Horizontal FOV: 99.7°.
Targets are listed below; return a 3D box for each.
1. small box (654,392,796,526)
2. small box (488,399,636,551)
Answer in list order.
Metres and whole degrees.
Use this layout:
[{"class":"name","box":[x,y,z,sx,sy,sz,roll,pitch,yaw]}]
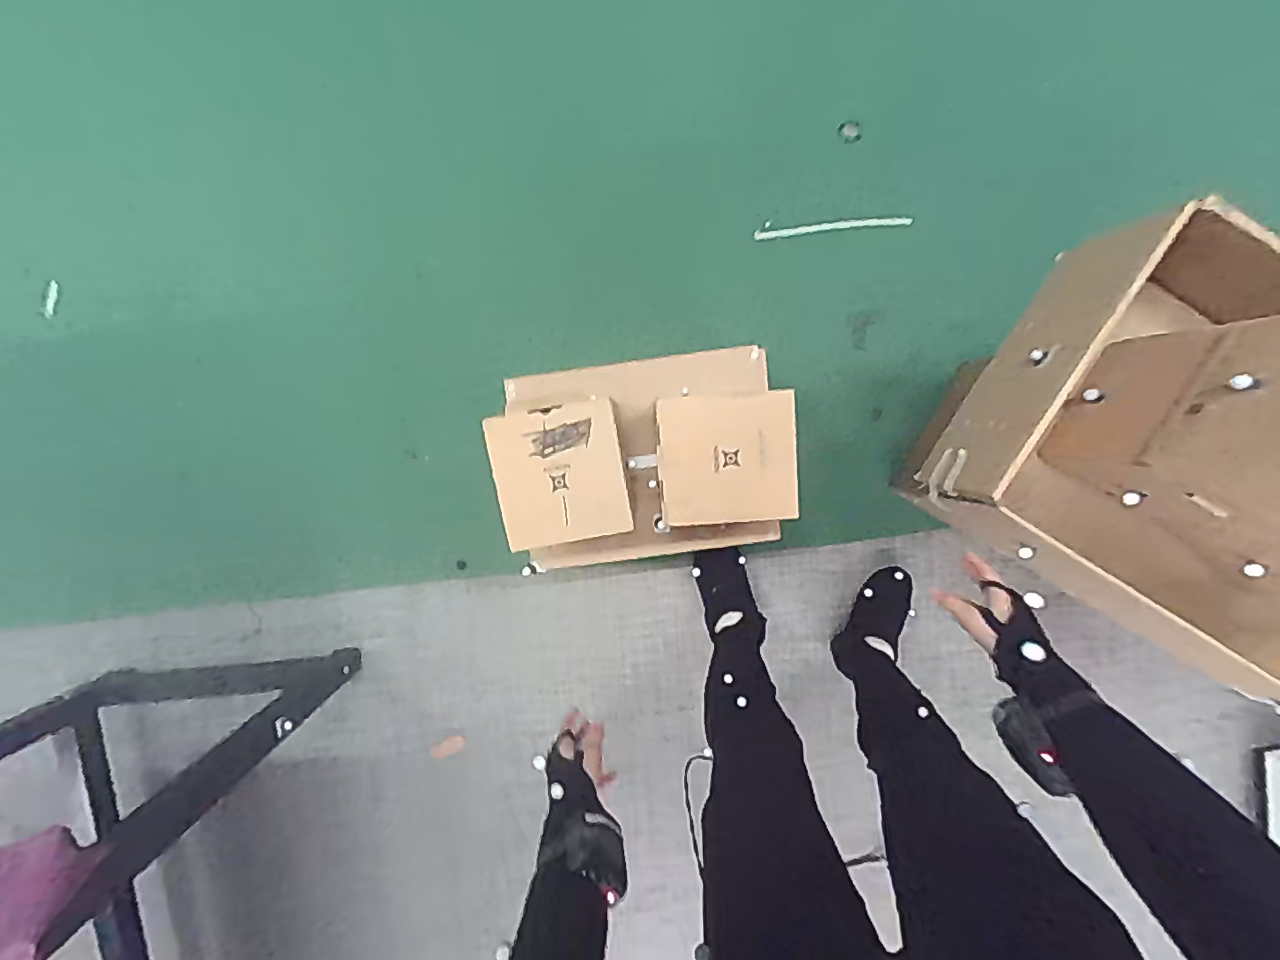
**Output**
[{"class":"small box","box":[0.112,-0.032,0.765,0.179,0.176,0.168,-3,96,1]},{"class":"small box","box":[-0.100,-0.011,0.771,0.168,0.176,0.179,-10,96,2]}]
